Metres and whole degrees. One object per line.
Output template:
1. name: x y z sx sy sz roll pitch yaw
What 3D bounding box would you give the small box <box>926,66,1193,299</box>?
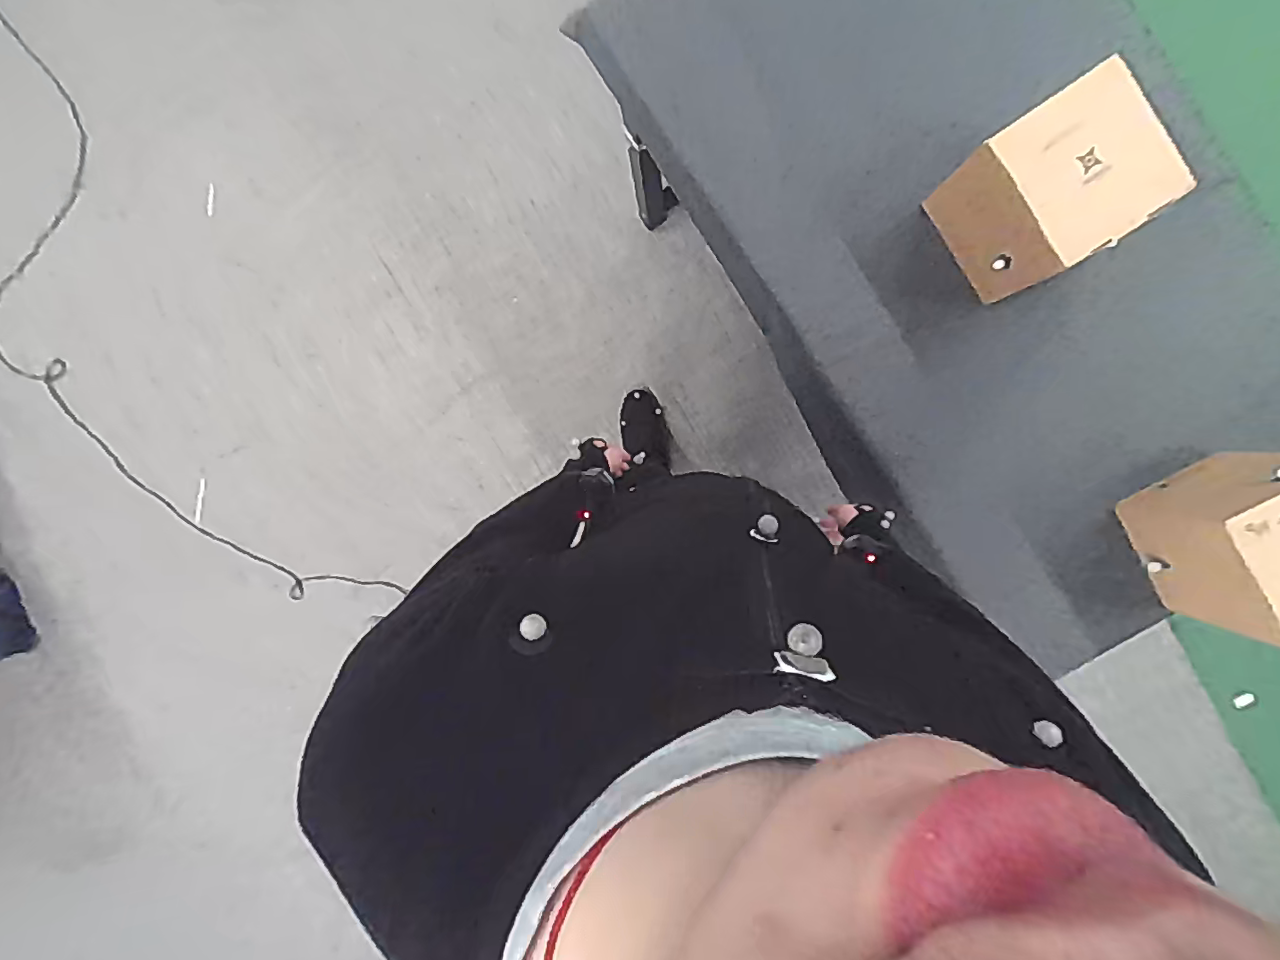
1. small box: 0.513 -0.354 0.690 0.168 0.176 0.179 -33 92 4

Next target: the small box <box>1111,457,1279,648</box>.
1. small box: 0.792 0.082 0.712 0.168 0.176 0.179 -29 93 5
